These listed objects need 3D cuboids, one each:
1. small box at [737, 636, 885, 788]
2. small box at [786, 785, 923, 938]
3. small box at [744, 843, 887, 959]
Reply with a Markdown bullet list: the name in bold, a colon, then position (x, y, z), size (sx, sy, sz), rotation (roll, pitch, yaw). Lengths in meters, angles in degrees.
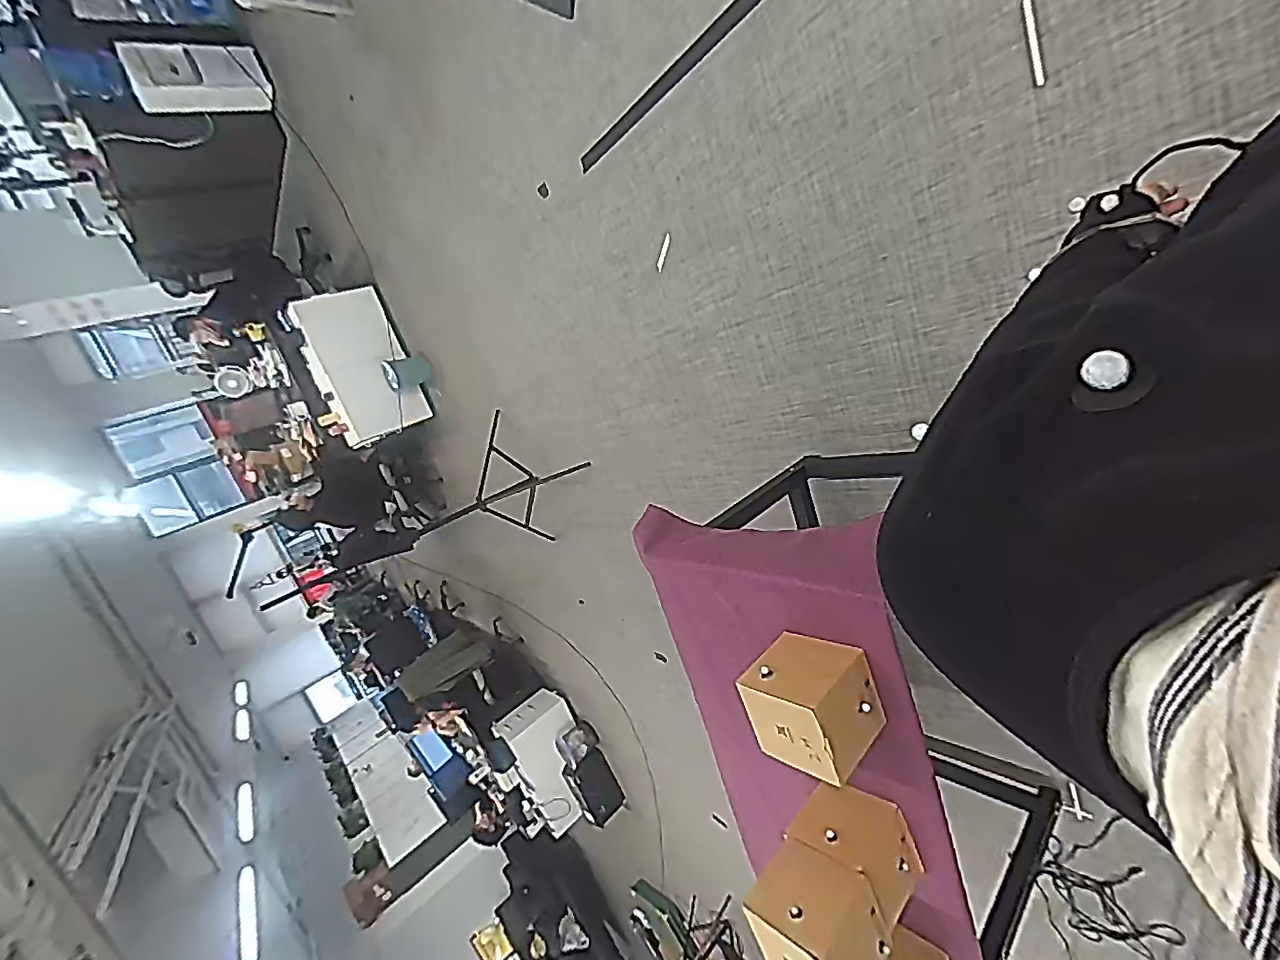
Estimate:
- **small box**: position (0.317, 0.412, 0.997), size (0.179, 0.176, 0.168), rotation (-4, 112, 53)
- **small box**: position (0.438, 0.759, 1.103), size (0.179, 0.176, 0.168), rotation (-11, 106, 53)
- **small box**: position (0.329, 0.822, 0.995), size (0.179, 0.176, 0.168), rotation (-8, 107, 53)
